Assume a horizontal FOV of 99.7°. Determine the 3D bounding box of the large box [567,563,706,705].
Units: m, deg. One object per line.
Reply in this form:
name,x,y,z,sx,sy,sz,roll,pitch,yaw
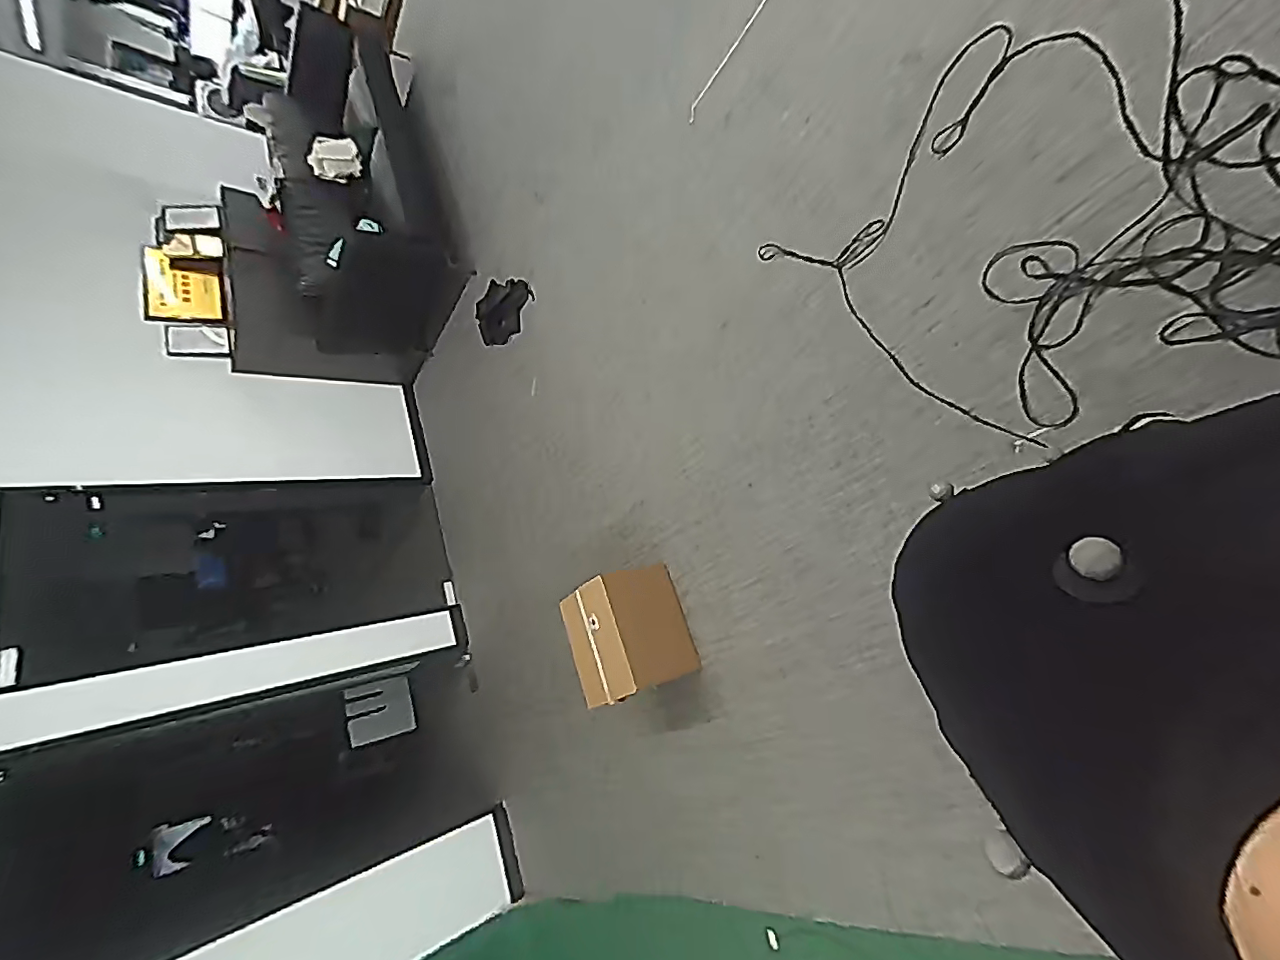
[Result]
large box,-0.018,0.558,1.990,0.320,0.320,0.408,-40,61,42
